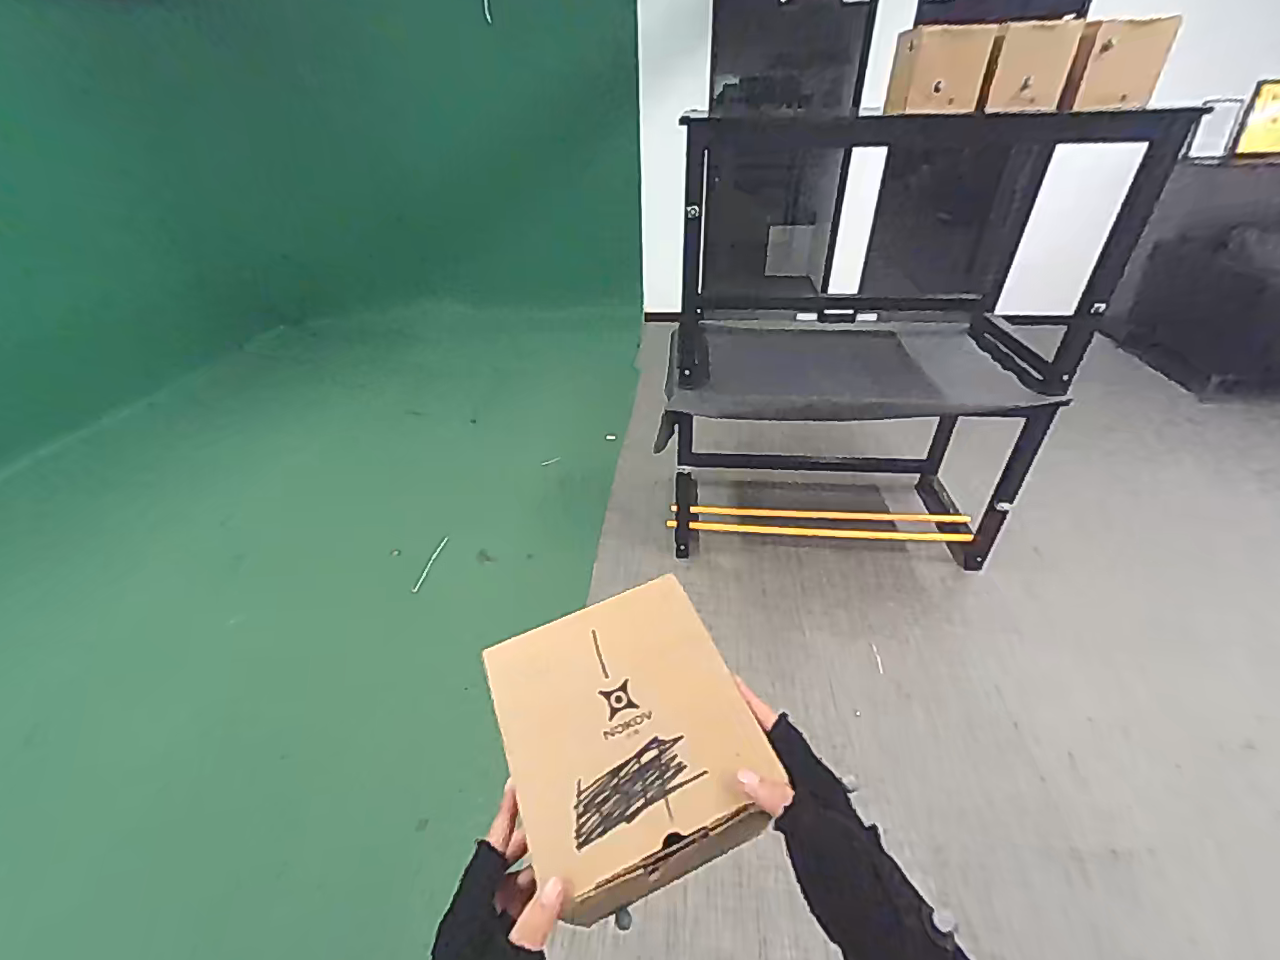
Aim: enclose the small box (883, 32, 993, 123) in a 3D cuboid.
[{"bbox_3d":[0.722,-0.989,1.335,0.168,0.176,0.179,2,35,4],"label":"small box"}]
